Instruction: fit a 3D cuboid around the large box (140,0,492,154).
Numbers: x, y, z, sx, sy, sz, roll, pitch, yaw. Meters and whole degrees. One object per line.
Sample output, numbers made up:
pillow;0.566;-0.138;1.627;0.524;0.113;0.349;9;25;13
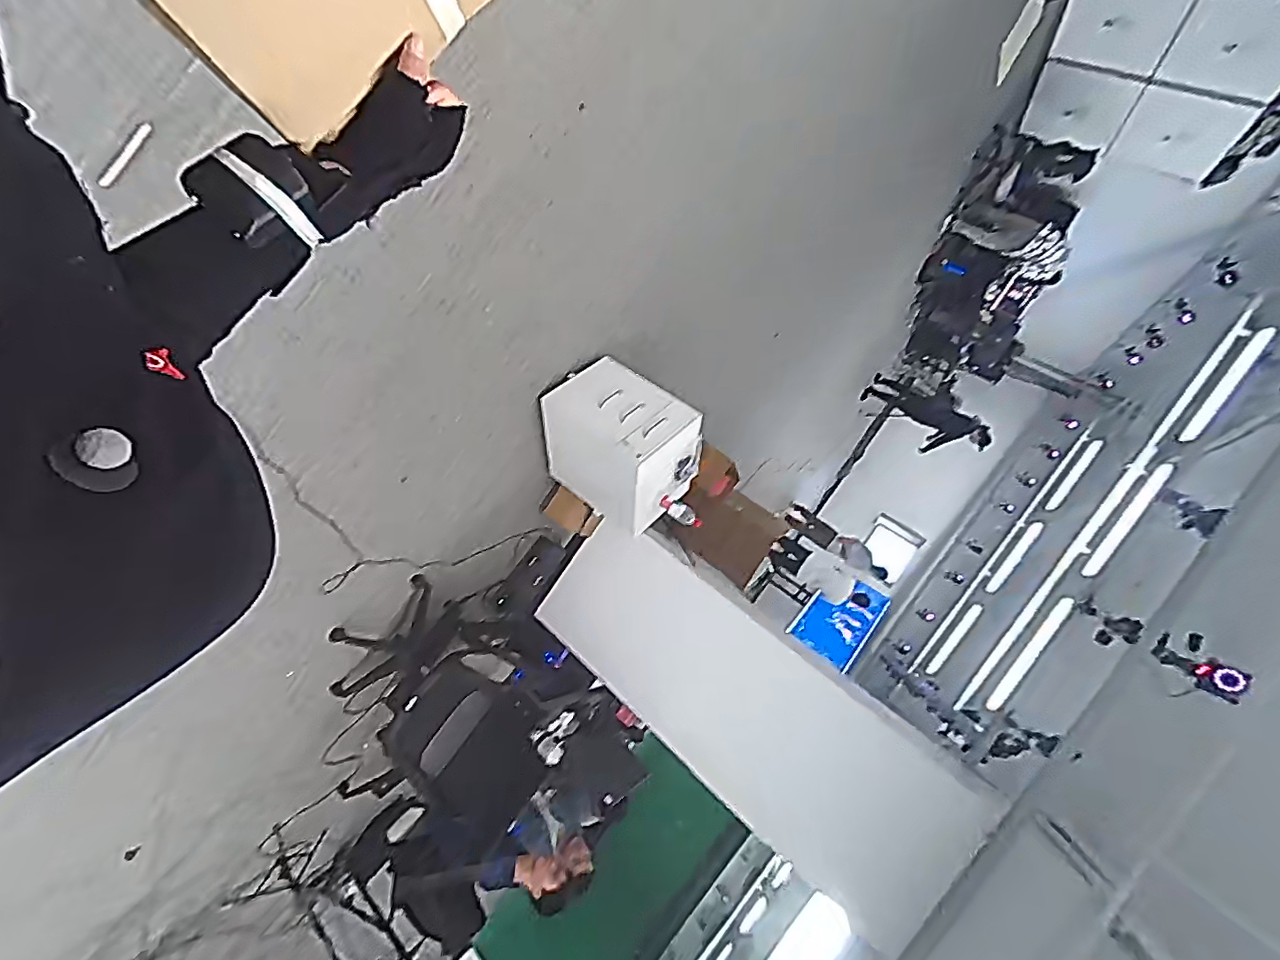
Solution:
large box;-0.306;-0.520;0.318;0.320;0.320;0.408;-45;158;-3
